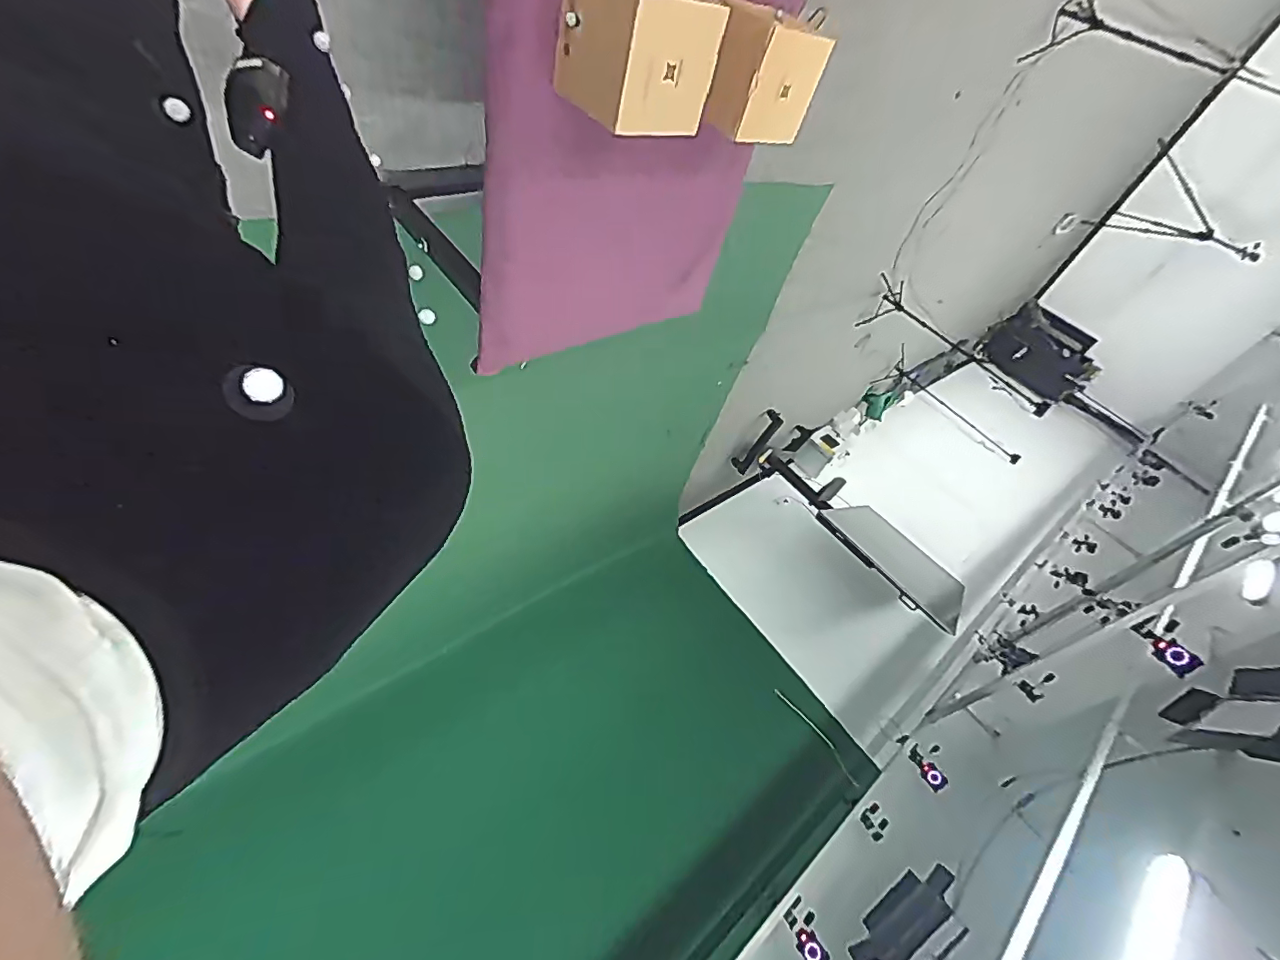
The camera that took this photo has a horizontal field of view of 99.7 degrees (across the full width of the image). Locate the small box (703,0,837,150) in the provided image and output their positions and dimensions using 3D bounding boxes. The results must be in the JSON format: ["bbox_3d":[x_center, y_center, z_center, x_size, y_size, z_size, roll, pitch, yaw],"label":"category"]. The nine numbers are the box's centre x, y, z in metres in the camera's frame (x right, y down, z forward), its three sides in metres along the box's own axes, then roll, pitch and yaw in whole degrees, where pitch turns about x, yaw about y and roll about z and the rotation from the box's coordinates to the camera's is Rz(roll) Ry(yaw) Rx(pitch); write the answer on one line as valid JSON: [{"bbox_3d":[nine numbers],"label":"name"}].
[{"bbox_3d":[0.204,-0.716,0.963,0.179,0.176,0.168,-22,151,-34],"label":"small box"}]

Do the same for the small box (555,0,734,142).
[{"bbox_3d":[0.000,-0.628,0.802,0.179,0.176,0.168,-25,151,-35],"label":"small box"}]
